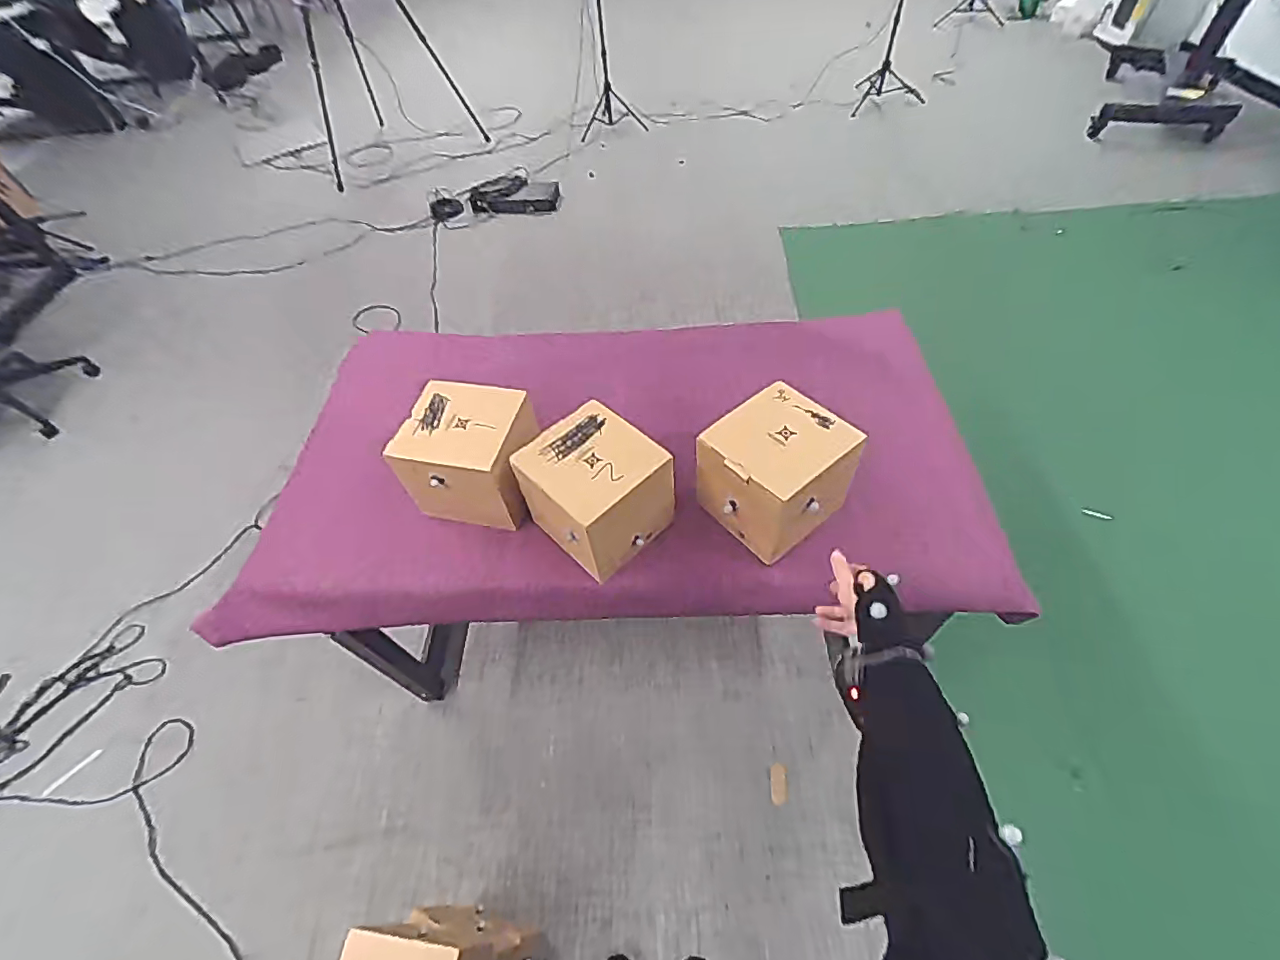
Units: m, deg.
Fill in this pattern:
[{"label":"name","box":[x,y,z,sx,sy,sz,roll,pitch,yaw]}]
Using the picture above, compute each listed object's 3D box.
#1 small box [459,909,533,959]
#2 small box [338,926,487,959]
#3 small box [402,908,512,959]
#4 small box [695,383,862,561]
[{"label":"small box","box":[-0.323,0.968,1.055,0.168,0.176,0.179,10,56,13]},{"label":"small box","box":[-0.346,0.775,0.793,0.179,0.176,0.168,3,52,9]},{"label":"small box","box":[-0.343,0.873,0.926,0.168,0.176,0.179,14,55,17]},{"label":"small box","box":[0.204,-0.008,0.830,0.179,0.176,0.168,-35,57,-19]}]
